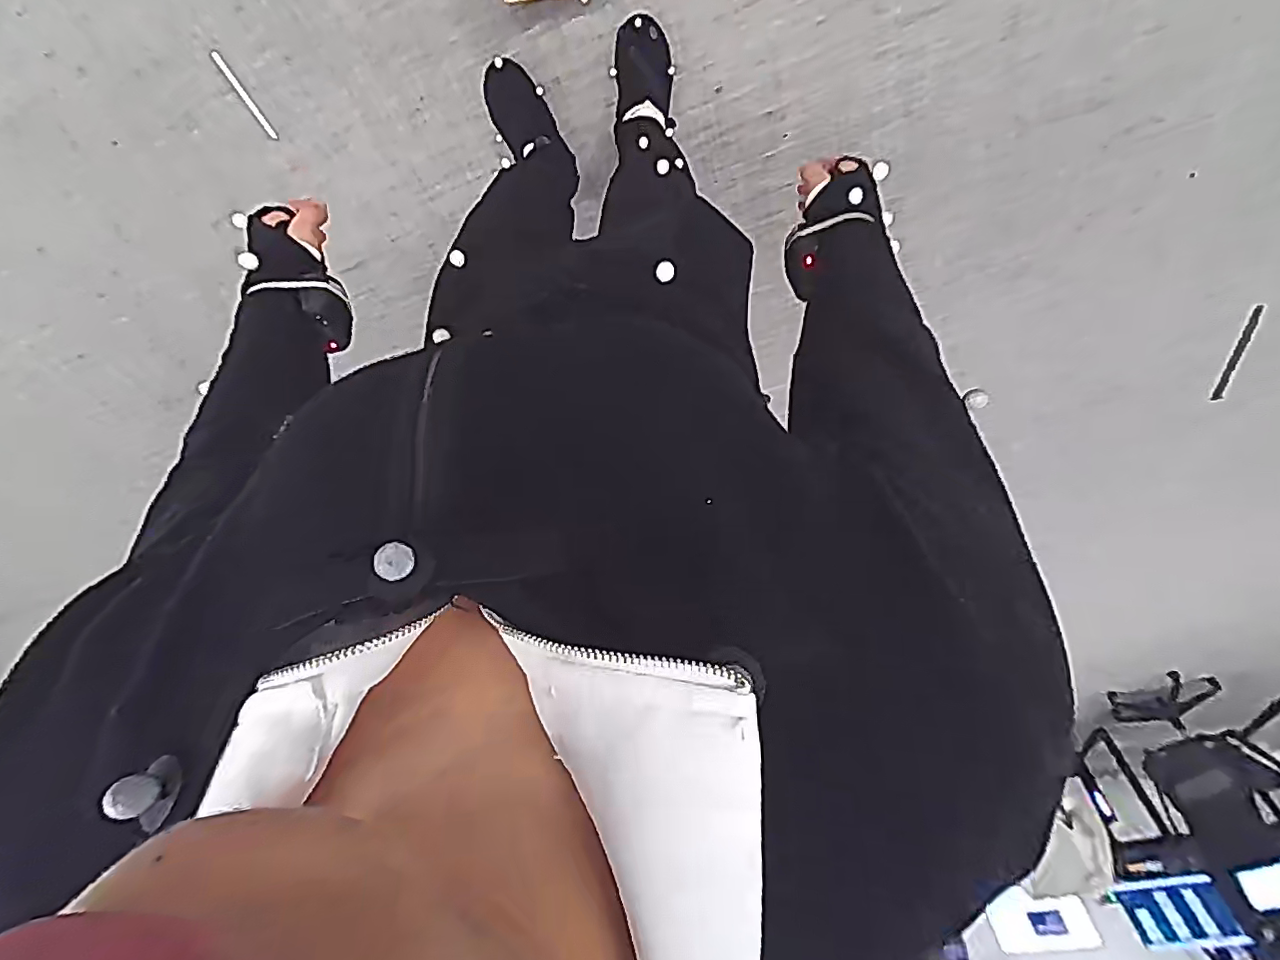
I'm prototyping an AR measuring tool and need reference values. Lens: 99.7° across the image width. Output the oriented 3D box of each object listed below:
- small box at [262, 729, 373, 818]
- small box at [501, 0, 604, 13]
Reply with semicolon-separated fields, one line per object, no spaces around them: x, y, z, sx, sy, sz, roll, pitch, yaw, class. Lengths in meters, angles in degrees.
-0.878;0.810;1.493;0.179;0.176;0.168;-16;135;11;small box
-0.151;-0.888;0.883;0.179;0.176;0.168;-7;135;2;small box
